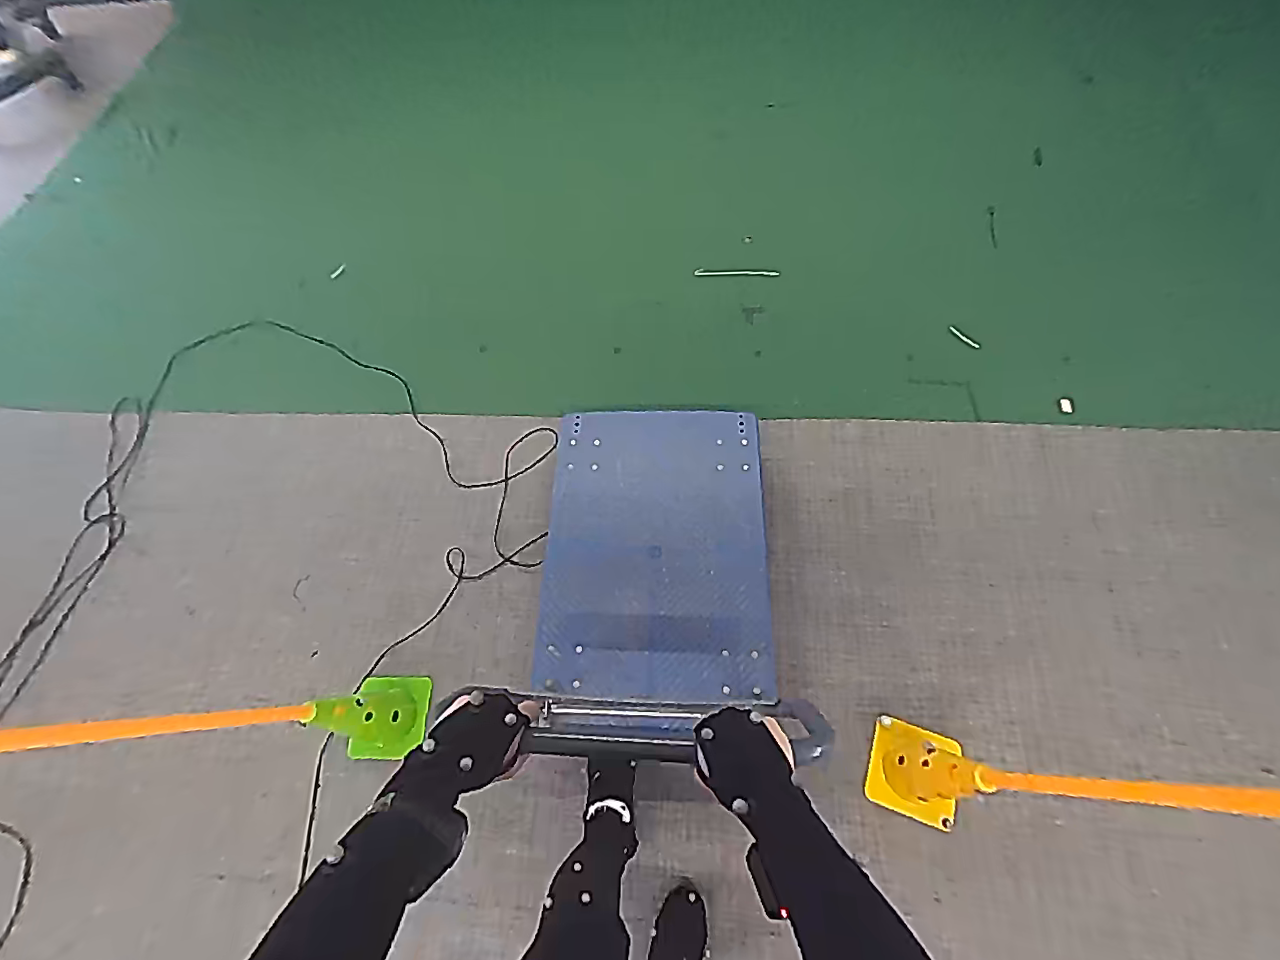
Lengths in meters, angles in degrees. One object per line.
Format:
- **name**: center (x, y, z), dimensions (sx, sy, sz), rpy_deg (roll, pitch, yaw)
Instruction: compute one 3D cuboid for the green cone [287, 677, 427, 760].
- **green cone**: center (-0.687, 0.554, 1.276), dimensions (0.202, 0.368, 0.200), rpy_deg (-3, 64, 6)
